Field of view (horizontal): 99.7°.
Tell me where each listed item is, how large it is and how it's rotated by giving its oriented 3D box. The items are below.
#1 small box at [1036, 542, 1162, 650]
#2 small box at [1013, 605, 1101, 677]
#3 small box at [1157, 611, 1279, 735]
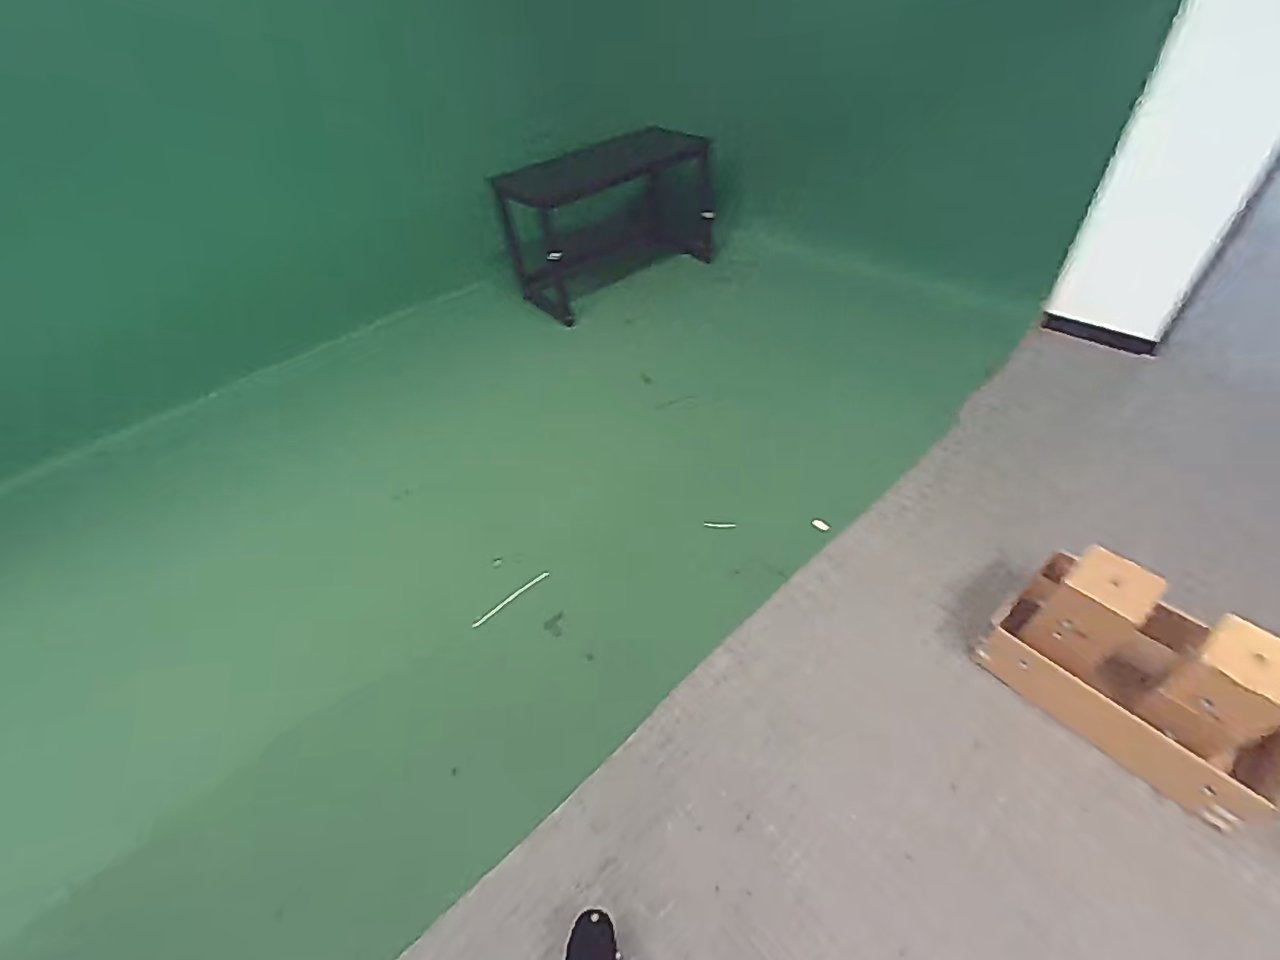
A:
[{"bbox_3d":[1.180,0.301,1.404,0.179,0.176,0.168,-33,51,-22],"label":"small box"},{"bbox_3d":[1.197,0.413,1.522,0.179,0.176,0.168,-32,50,-23],"label":"small box"},{"bbox_3d":[1.356,0.444,1.244,0.179,0.176,0.168,-34,51,-22],"label":"small box"}]
